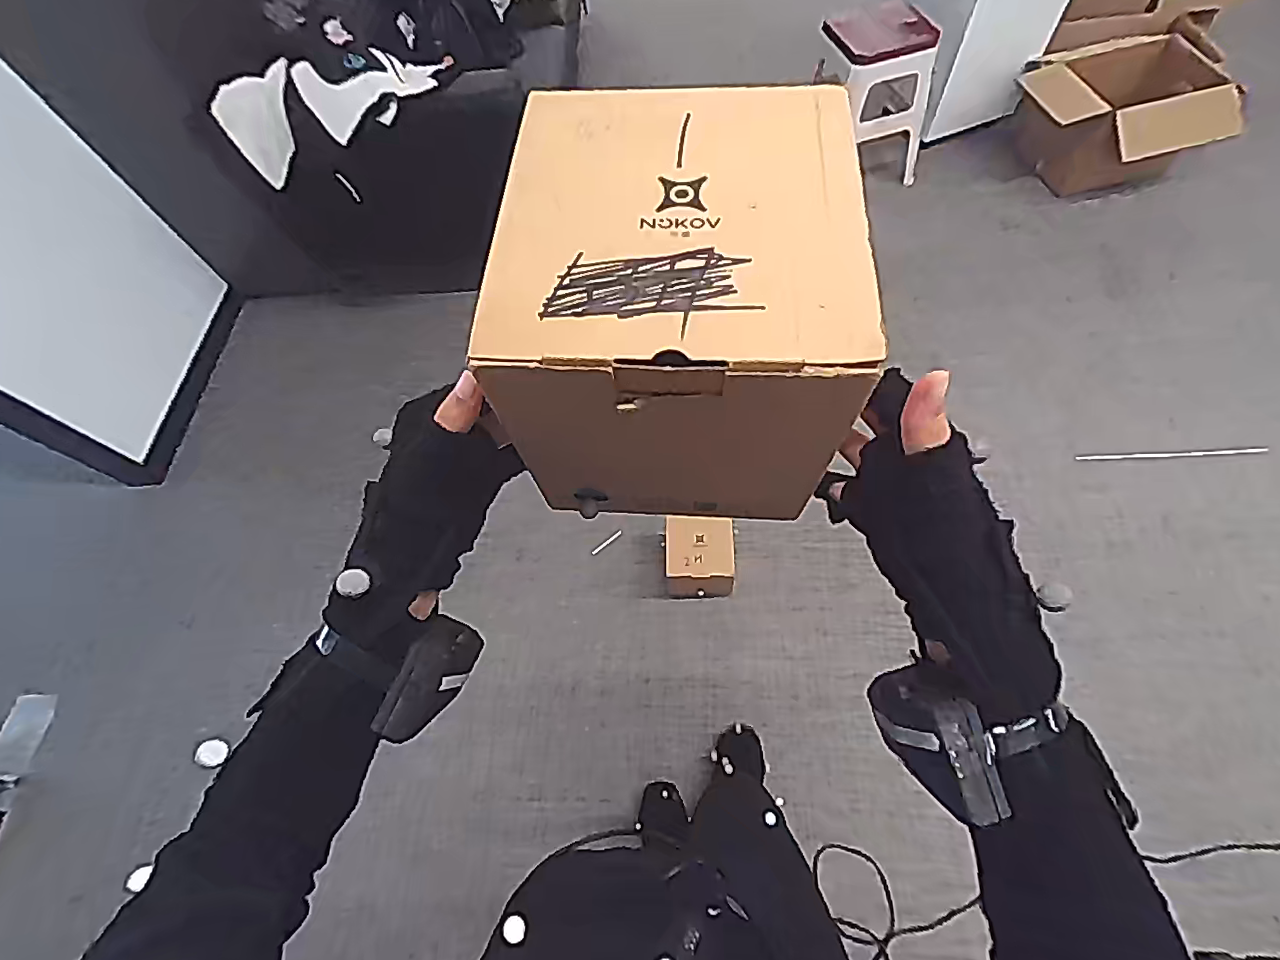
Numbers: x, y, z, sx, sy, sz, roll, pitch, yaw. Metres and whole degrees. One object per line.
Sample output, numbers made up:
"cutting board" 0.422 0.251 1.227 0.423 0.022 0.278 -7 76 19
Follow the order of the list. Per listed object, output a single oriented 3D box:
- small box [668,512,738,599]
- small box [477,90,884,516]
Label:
"small box" 0.158 0.196 1.387 0.168 0.176 0.179 -2 62 6
"small box" 0.025 -0.087 0.319 0.168 0.176 0.179 2 65 5
